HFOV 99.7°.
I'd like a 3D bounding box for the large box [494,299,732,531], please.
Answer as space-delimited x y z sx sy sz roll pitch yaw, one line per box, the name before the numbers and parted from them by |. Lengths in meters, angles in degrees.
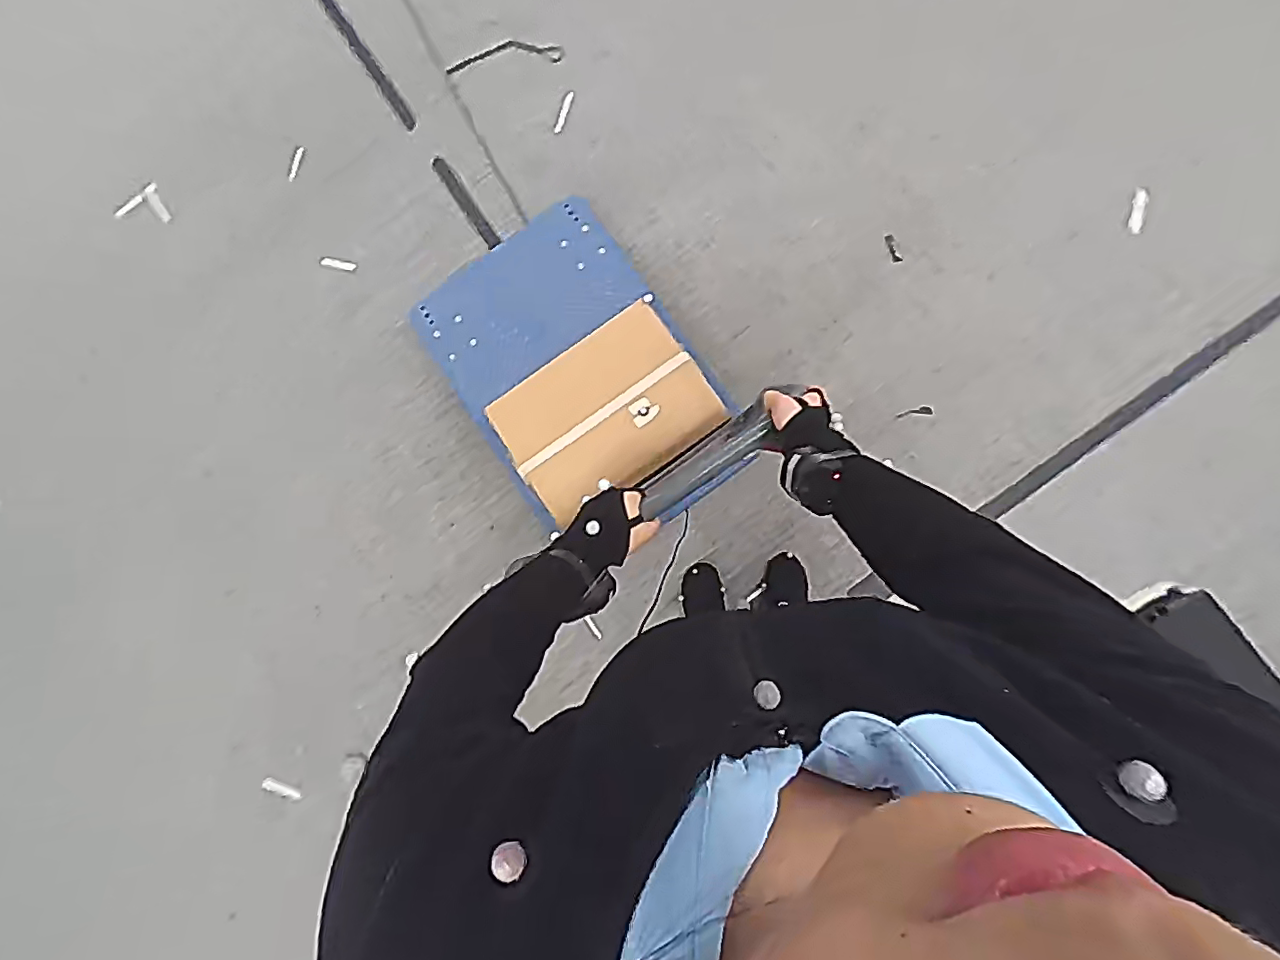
large box | -0.046 -0.121 1.241 0.408 0.320 0.320 -35 82 1
